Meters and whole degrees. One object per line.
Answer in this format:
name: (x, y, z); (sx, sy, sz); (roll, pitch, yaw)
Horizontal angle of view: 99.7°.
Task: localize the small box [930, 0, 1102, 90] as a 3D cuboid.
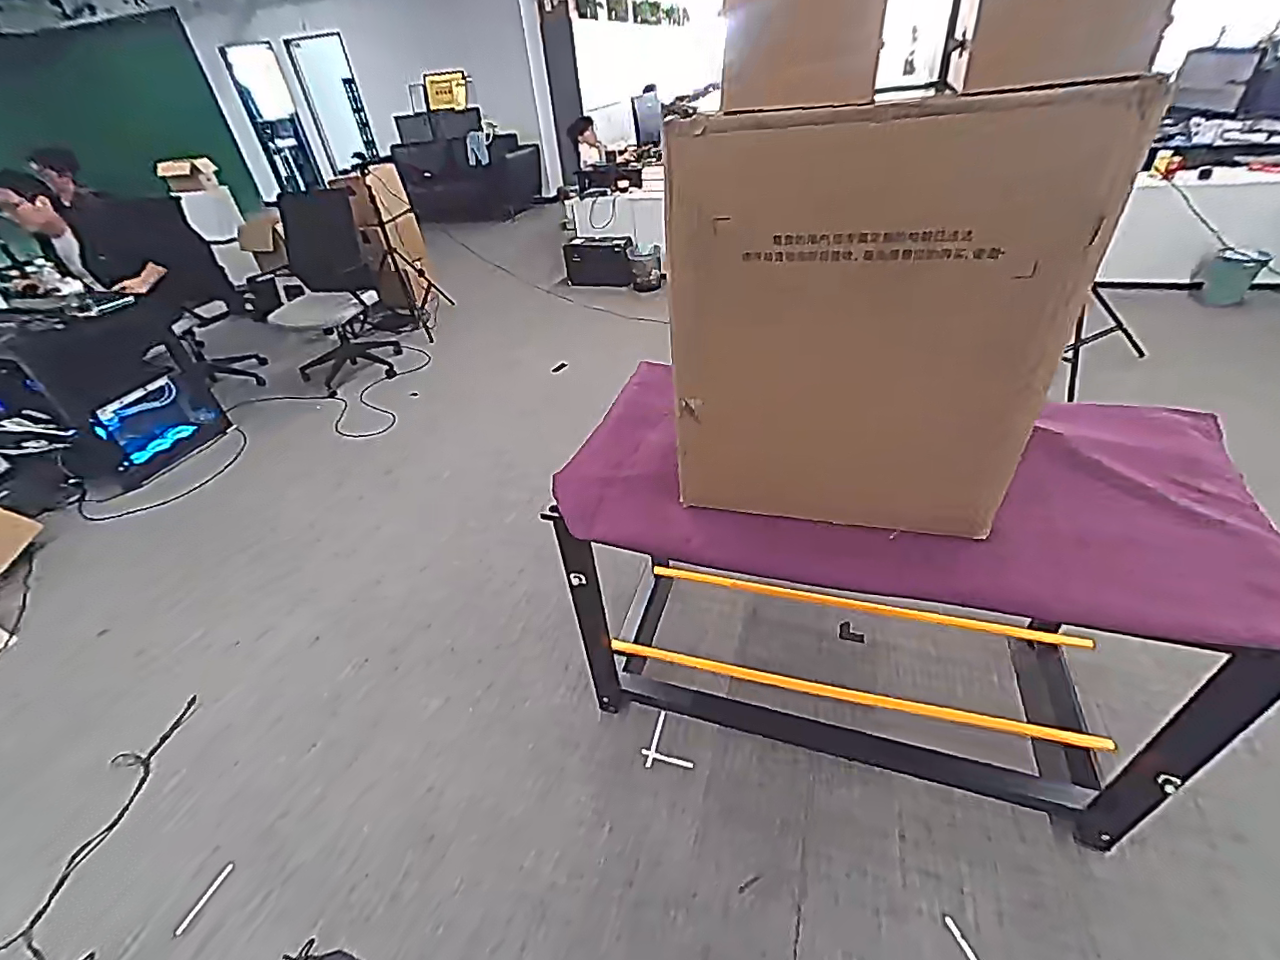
small box: (0.500, -0.634, 0.724); (0.168, 0.176, 0.179); (7, 39, 18)
